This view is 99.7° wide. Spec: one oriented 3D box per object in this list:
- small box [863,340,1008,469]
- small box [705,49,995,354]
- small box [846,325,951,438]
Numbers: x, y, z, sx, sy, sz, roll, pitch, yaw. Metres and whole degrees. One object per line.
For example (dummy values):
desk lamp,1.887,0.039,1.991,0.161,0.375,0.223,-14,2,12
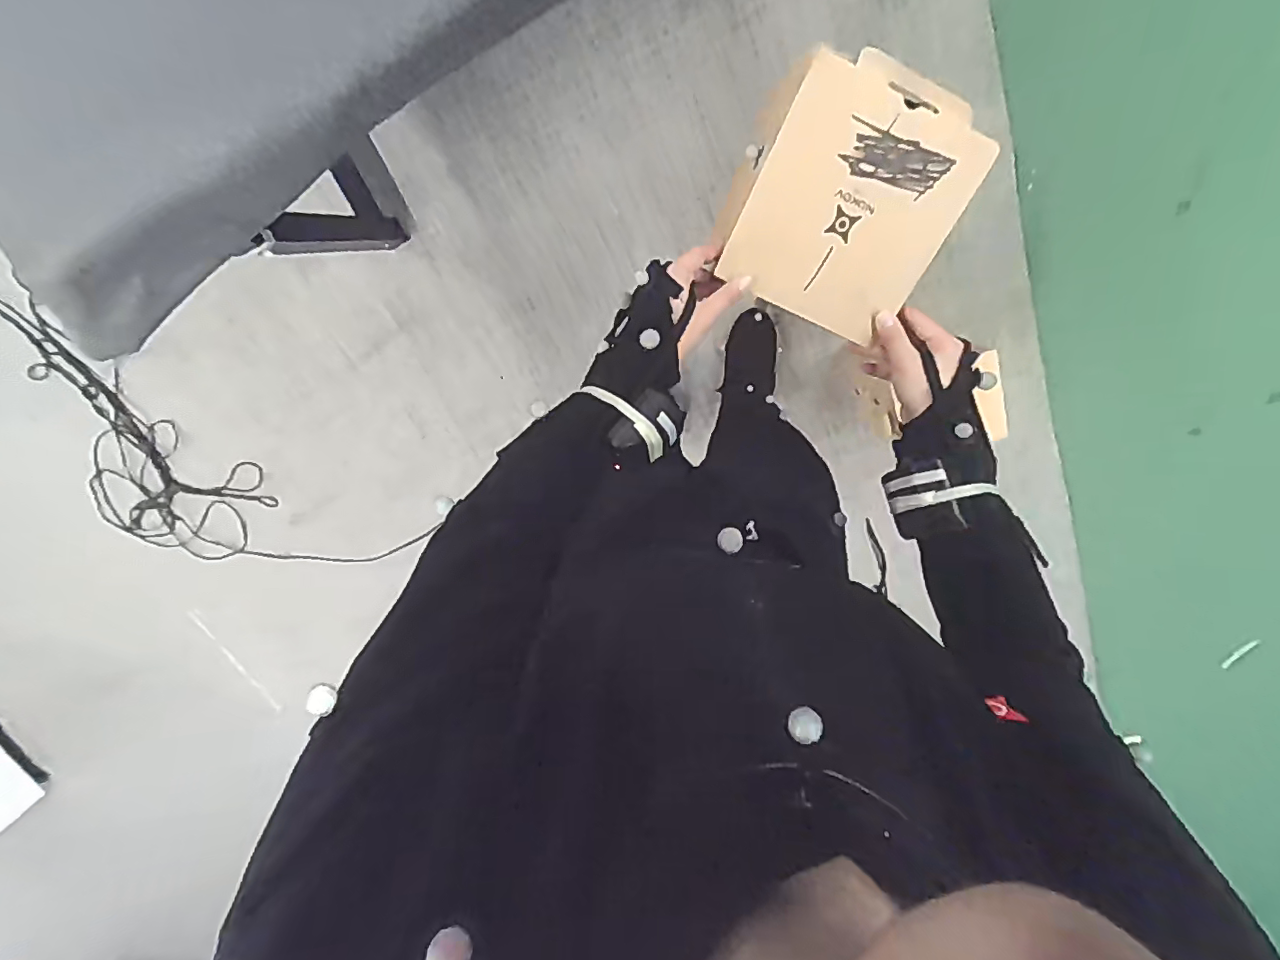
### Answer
small box,0.539,-0.146,1.002,0.179,0.176,0.168,-18,111,13
small box,0.169,-0.248,0.507,0.168,0.176,0.179,22,116,-7
small box,0.552,-0.213,1.151,0.179,0.176,0.168,-19,111,15
